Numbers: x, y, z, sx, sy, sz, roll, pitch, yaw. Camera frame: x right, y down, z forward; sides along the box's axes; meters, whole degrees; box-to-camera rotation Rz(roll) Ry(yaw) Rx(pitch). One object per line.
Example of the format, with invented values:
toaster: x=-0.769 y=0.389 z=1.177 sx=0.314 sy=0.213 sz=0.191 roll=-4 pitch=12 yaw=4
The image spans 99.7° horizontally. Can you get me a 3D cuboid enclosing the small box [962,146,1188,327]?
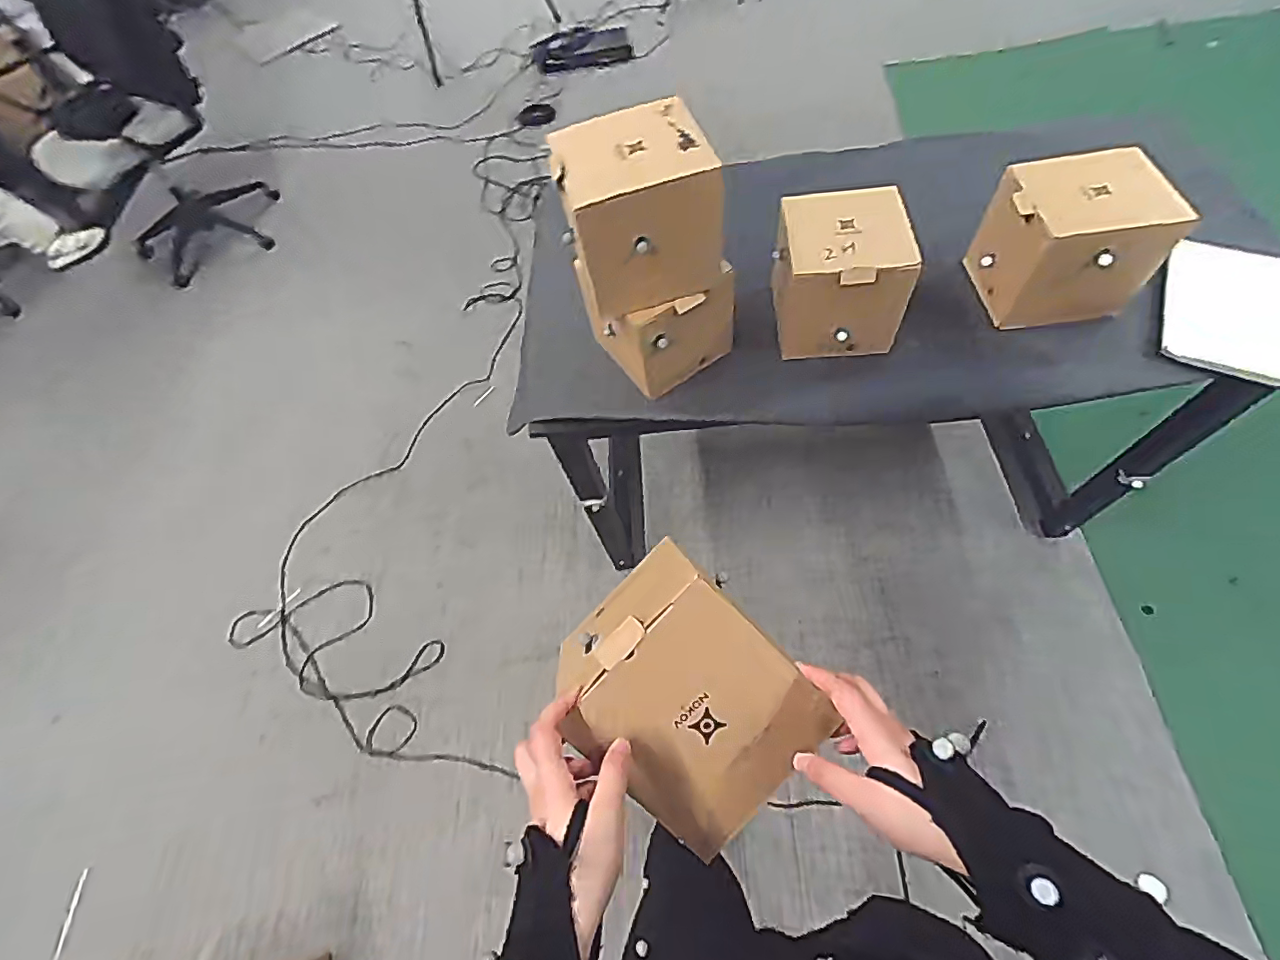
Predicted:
small box: x=0.620 y=-0.353 z=0.802 sx=0.179 sy=0.176 sz=0.168 roll=-7 pitch=60 yaw=7

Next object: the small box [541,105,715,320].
small box: x=-0.010 y=-0.339 z=0.706 sx=0.179 sy=0.176 sz=0.168 roll=-18 pitch=60 yaw=0

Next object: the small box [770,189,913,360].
small box: x=0.294 y=-0.309 z=0.830 sx=0.168 sy=0.176 sz=0.179 roll=-3 pitch=61 yaw=8

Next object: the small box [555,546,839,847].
small box: x=0.041 y=0.180 z=0.513 sx=0.179 sy=0.176 sz=0.168 roll=43 pitch=90 yaw=-7
